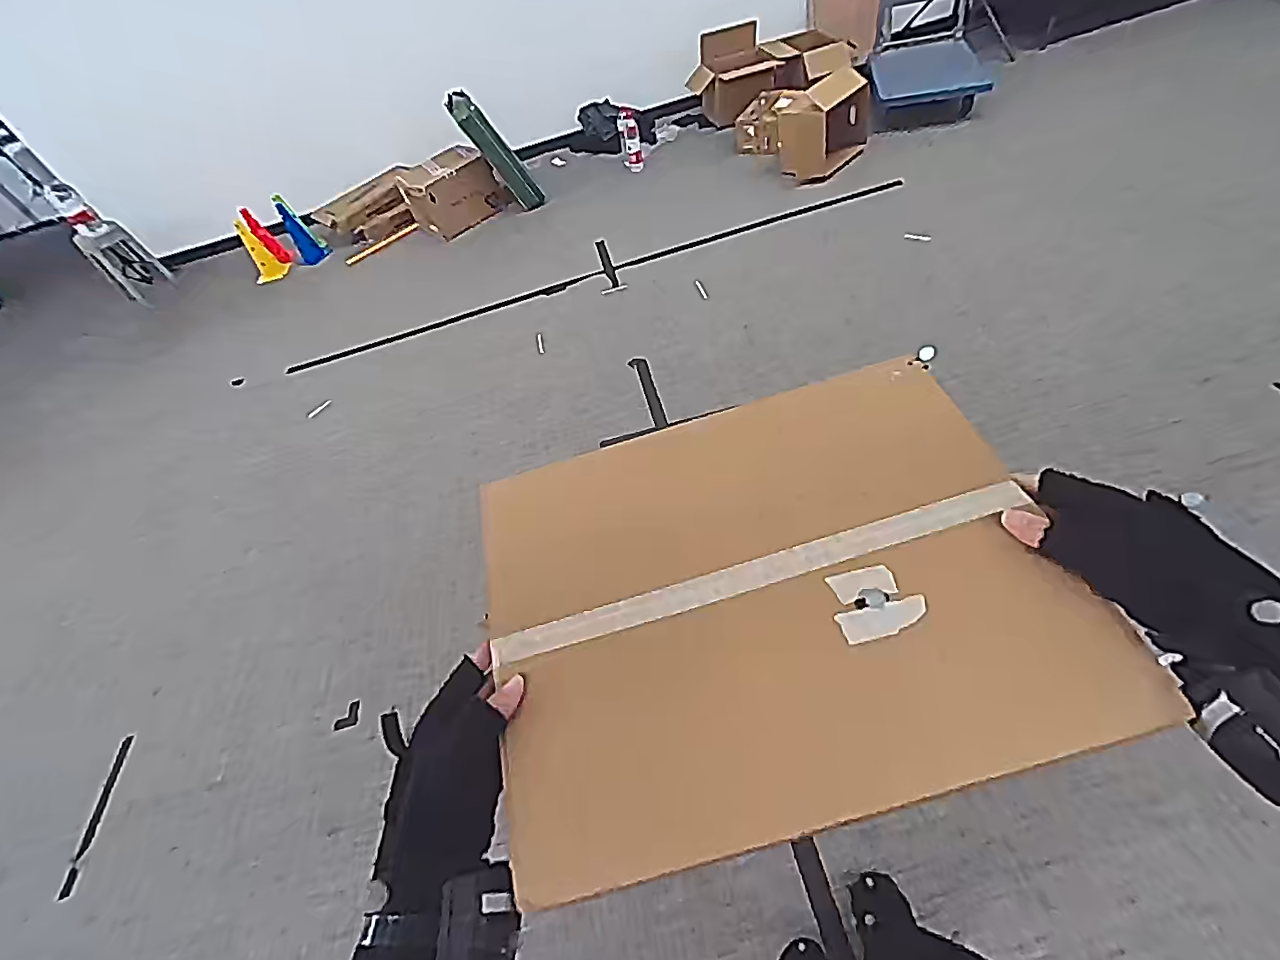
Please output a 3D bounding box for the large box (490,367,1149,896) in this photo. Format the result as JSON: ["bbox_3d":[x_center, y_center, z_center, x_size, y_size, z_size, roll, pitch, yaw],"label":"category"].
[{"bbox_3d":[0.111,0.154,0.534,0.408,0.320,0.320,-17,56,0],"label":"large box"}]
